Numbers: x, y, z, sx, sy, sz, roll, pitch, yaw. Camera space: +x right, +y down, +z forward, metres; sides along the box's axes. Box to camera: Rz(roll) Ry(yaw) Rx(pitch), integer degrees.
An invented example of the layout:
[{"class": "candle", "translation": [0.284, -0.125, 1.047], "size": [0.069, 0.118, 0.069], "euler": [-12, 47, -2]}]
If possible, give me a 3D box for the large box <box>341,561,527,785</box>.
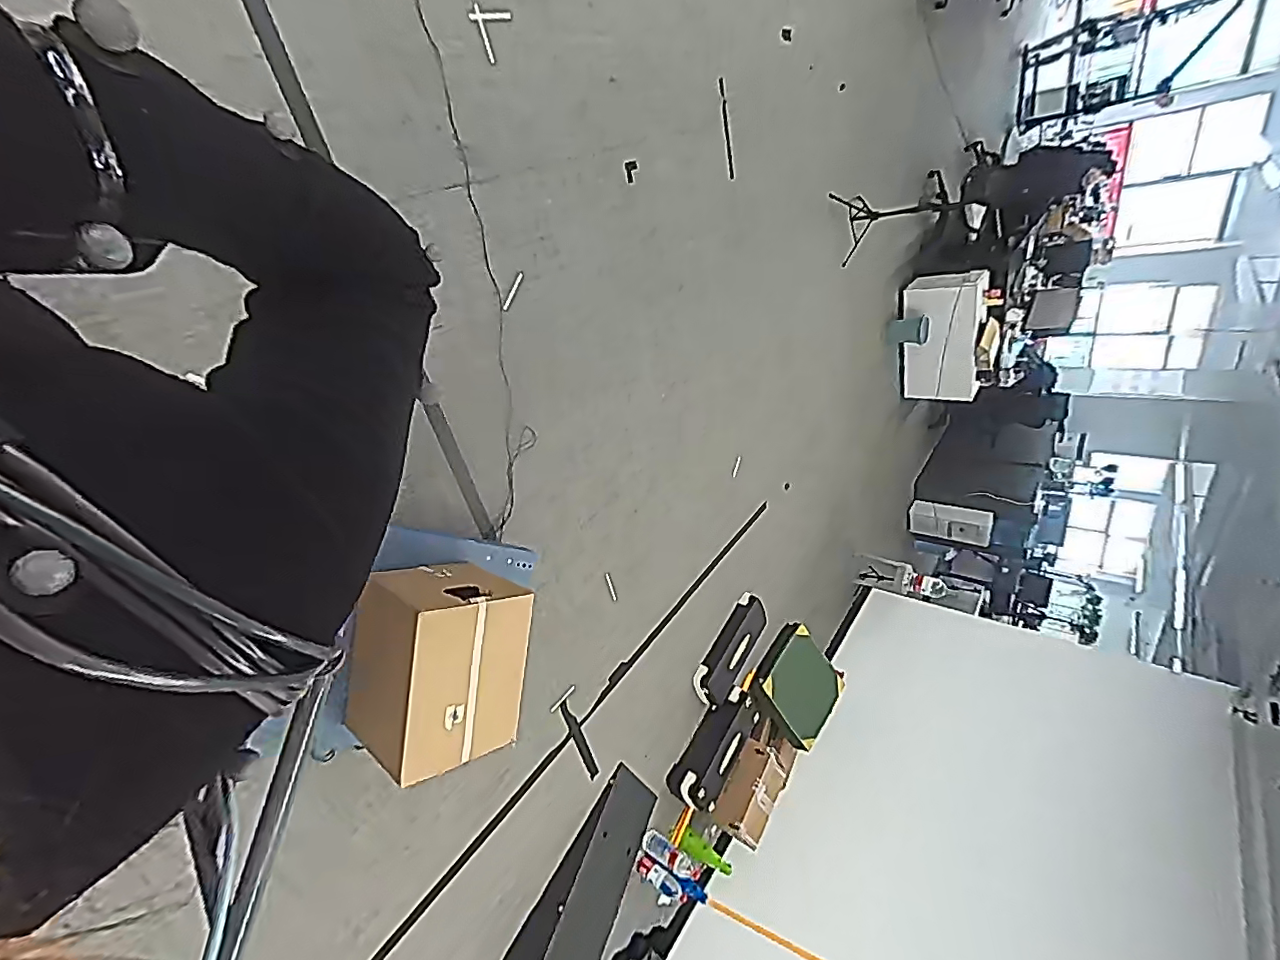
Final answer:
[{"class": "large box", "translation": [-0.523, 0.449, 1.366], "size": [0.320, 0.320, 0.408], "euler": [3, 98, -49]}]
